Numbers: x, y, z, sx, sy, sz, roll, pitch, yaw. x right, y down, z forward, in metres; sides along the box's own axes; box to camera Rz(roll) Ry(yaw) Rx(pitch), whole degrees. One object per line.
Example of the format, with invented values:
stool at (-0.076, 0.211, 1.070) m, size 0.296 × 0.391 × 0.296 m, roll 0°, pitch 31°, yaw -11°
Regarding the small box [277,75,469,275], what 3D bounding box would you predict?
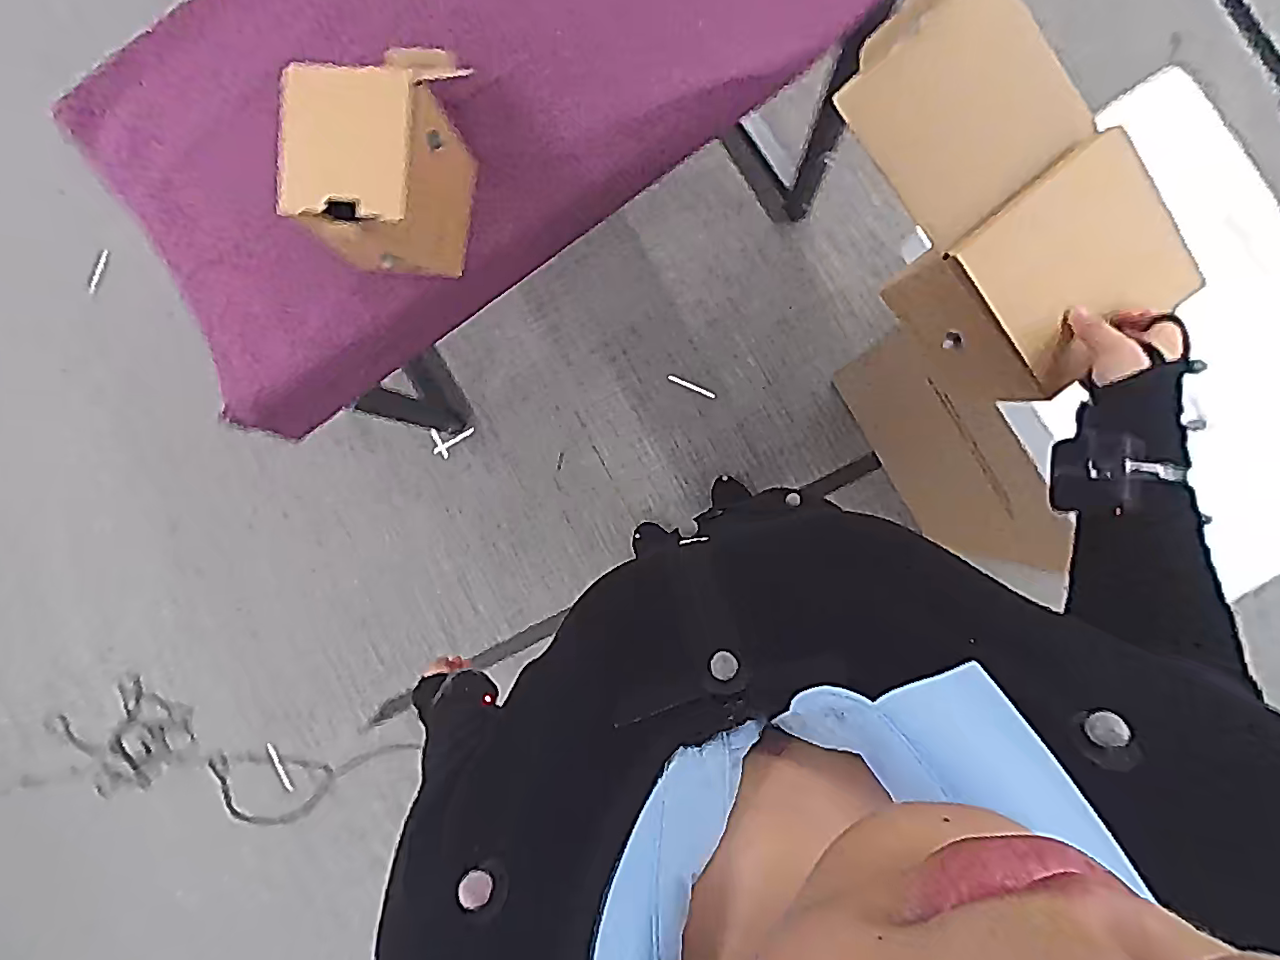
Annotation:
small box at (-0.350, -0.406, 0.742) m, size 0.168 × 0.176 × 0.179 m, roll 7°, pitch 89°, yaw 6°
